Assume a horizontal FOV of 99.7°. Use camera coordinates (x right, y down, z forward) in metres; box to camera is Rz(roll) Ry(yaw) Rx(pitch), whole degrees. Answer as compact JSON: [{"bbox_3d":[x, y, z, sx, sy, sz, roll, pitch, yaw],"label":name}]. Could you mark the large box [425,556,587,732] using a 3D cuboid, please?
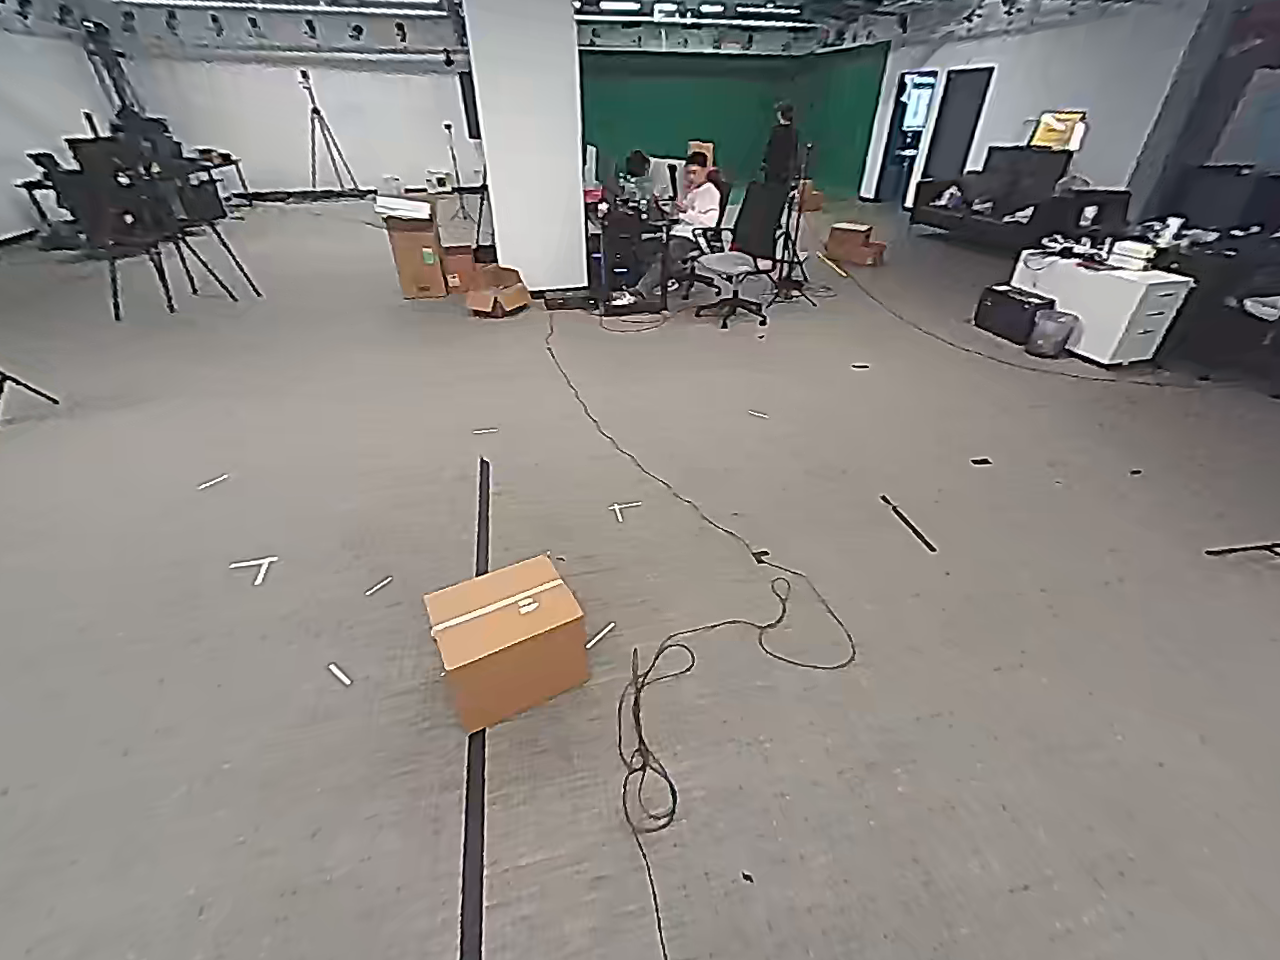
[{"bbox_3d":[-0.416,0.505,1.710,0.408,0.320,0.320,-17,38,-24],"label":"large box"}]
